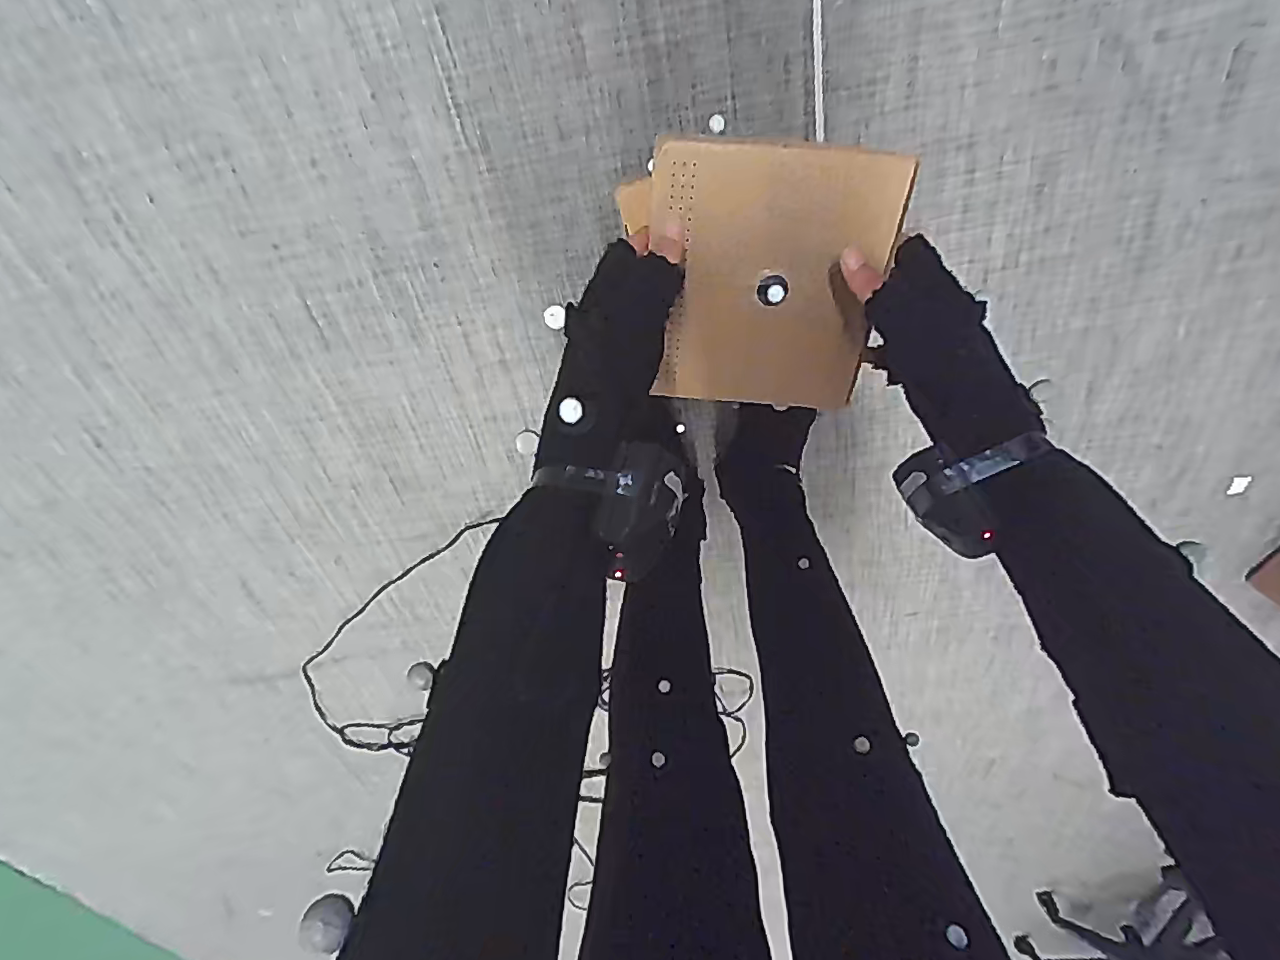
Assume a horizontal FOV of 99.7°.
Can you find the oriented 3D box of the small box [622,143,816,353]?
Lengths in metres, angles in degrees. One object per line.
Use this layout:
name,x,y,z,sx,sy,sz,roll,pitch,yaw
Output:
small box,0.085,-0.264,0.607,0.179,0.176,0.168,-11,121,9
